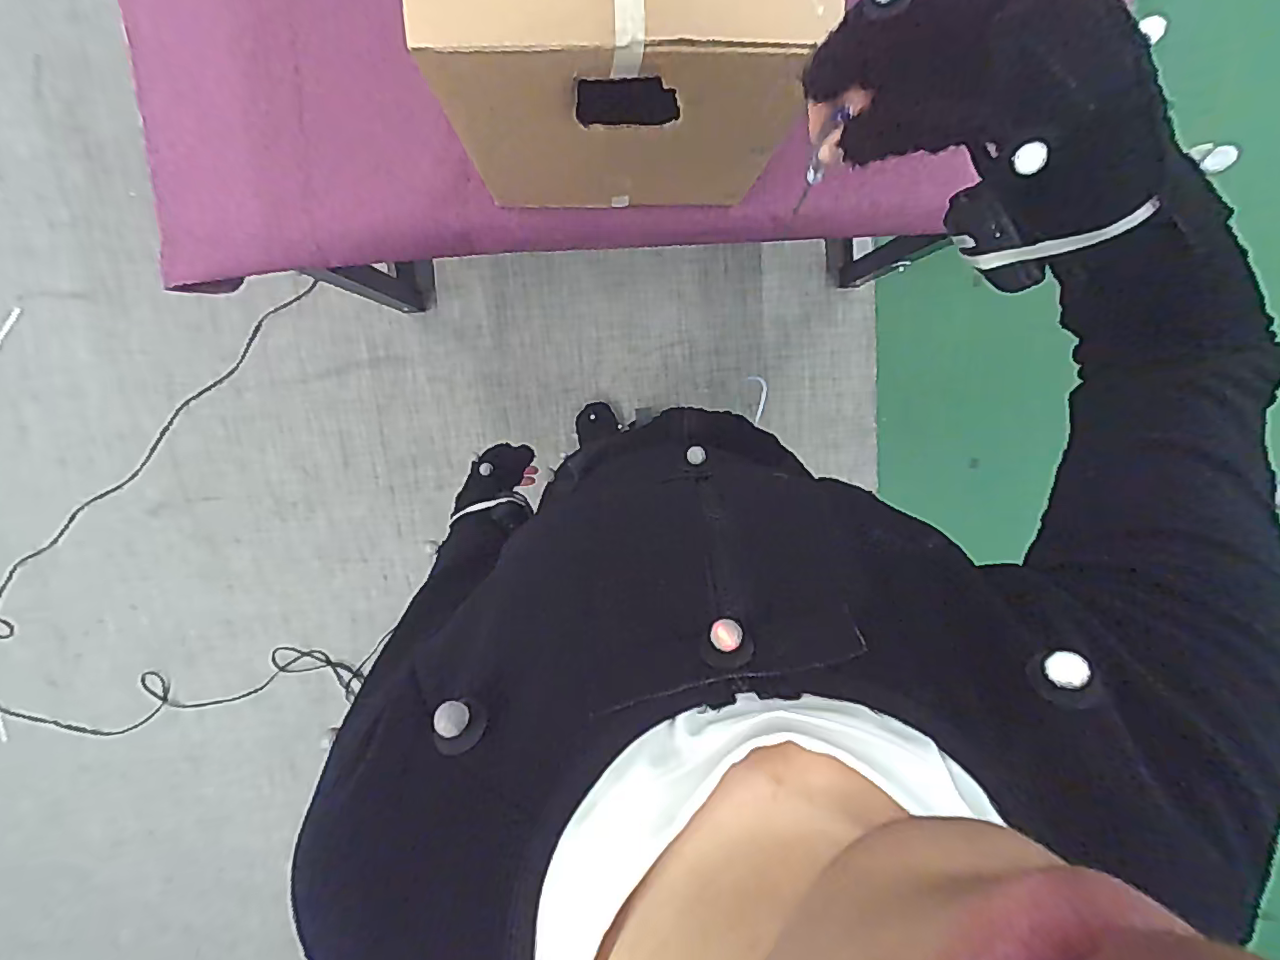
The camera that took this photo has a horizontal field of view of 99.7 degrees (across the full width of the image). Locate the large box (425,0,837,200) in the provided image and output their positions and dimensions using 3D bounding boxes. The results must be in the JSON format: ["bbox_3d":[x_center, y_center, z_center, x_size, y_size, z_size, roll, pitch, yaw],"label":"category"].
[{"bbox_3d":[-0.019,-0.534,0.519,0.320,0.320,0.408,-2,99,-3],"label":"large box"}]
